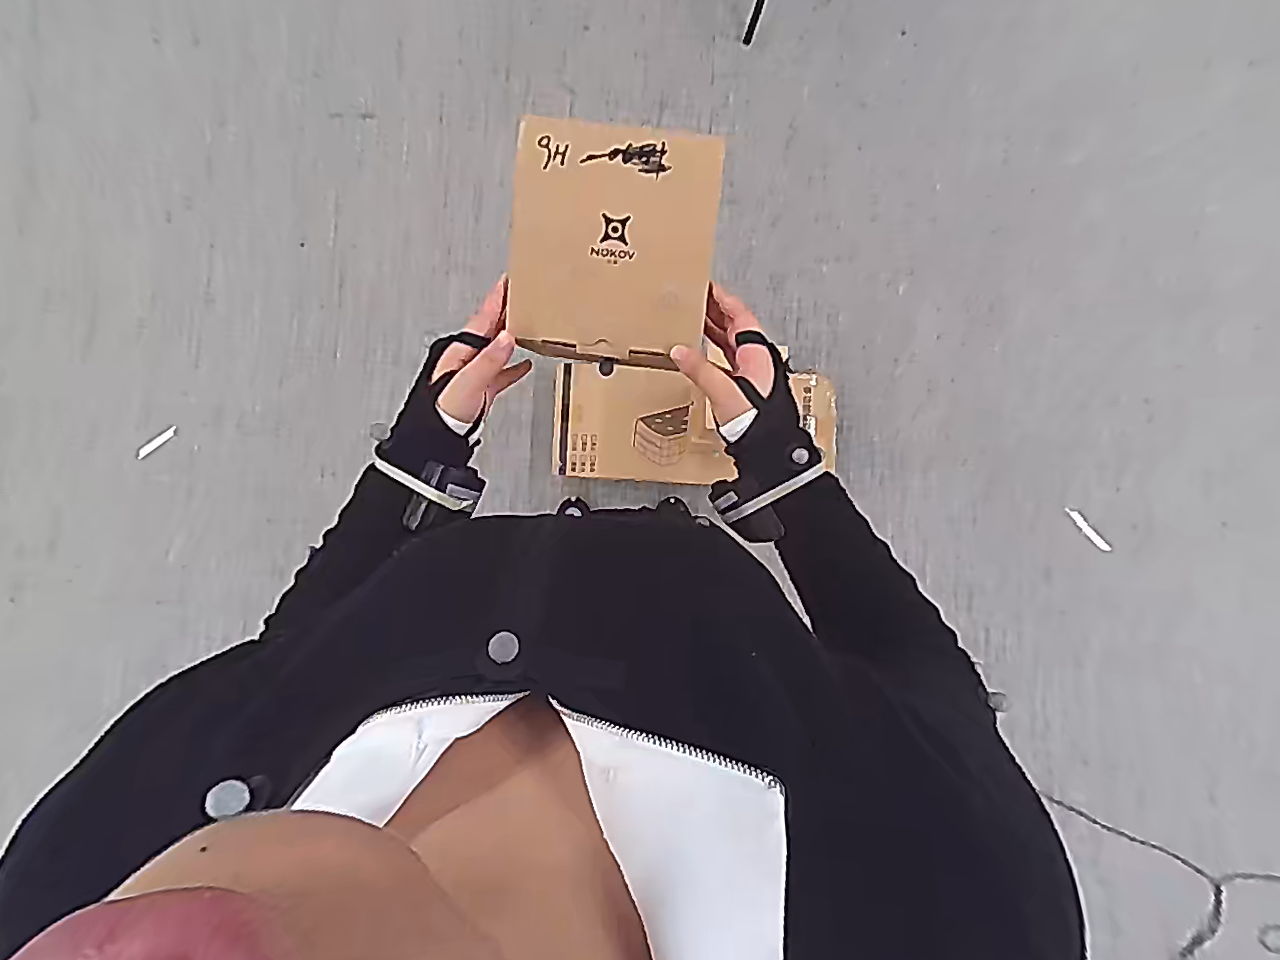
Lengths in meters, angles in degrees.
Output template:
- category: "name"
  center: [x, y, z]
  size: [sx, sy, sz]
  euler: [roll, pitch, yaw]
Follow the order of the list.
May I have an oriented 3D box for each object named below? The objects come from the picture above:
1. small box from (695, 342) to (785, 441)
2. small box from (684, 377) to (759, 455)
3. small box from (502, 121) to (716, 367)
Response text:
- category: "small box"
  center: [0.209, -0.185, 1.167]
  size: [0.168, 0.176, 0.179]
  euler: [2, 87, 0]
- category: "small box"
  center: [0.202, -0.162, 1.332]
  size: [0.168, 0.176, 0.179]
  euler: [6, 88, 1]
- category: "small box"
  center: [-0.026, -0.206, 0.523]
  size: [0.168, 0.176, 0.179]
  euler: [6, 99, 0]
